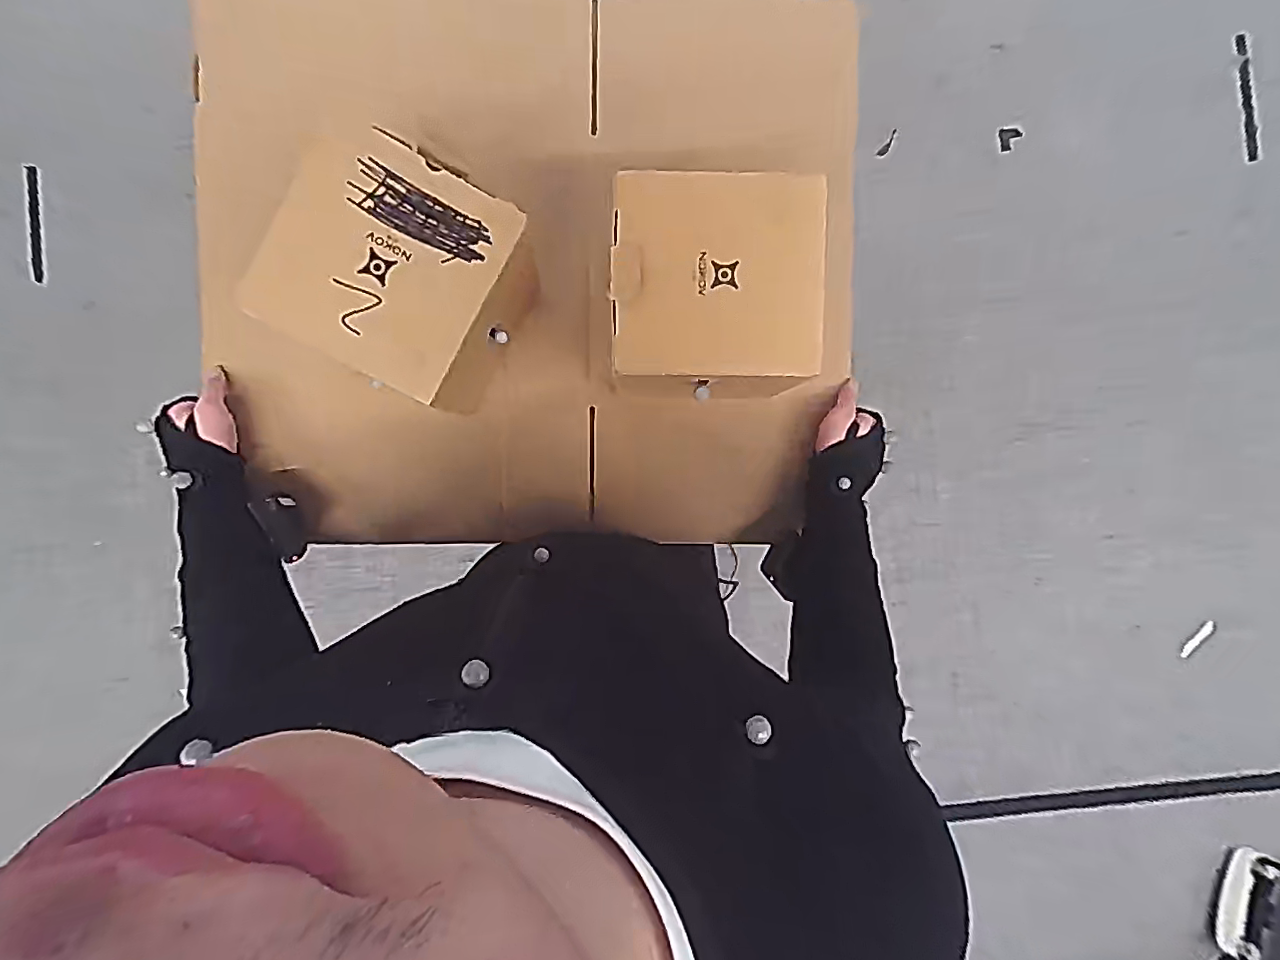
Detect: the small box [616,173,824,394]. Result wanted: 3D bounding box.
[{"bbox_3d":[0.067,-0.179,0.541,0.179,0.176,0.168,1,92,0],"label":"small box"}]
